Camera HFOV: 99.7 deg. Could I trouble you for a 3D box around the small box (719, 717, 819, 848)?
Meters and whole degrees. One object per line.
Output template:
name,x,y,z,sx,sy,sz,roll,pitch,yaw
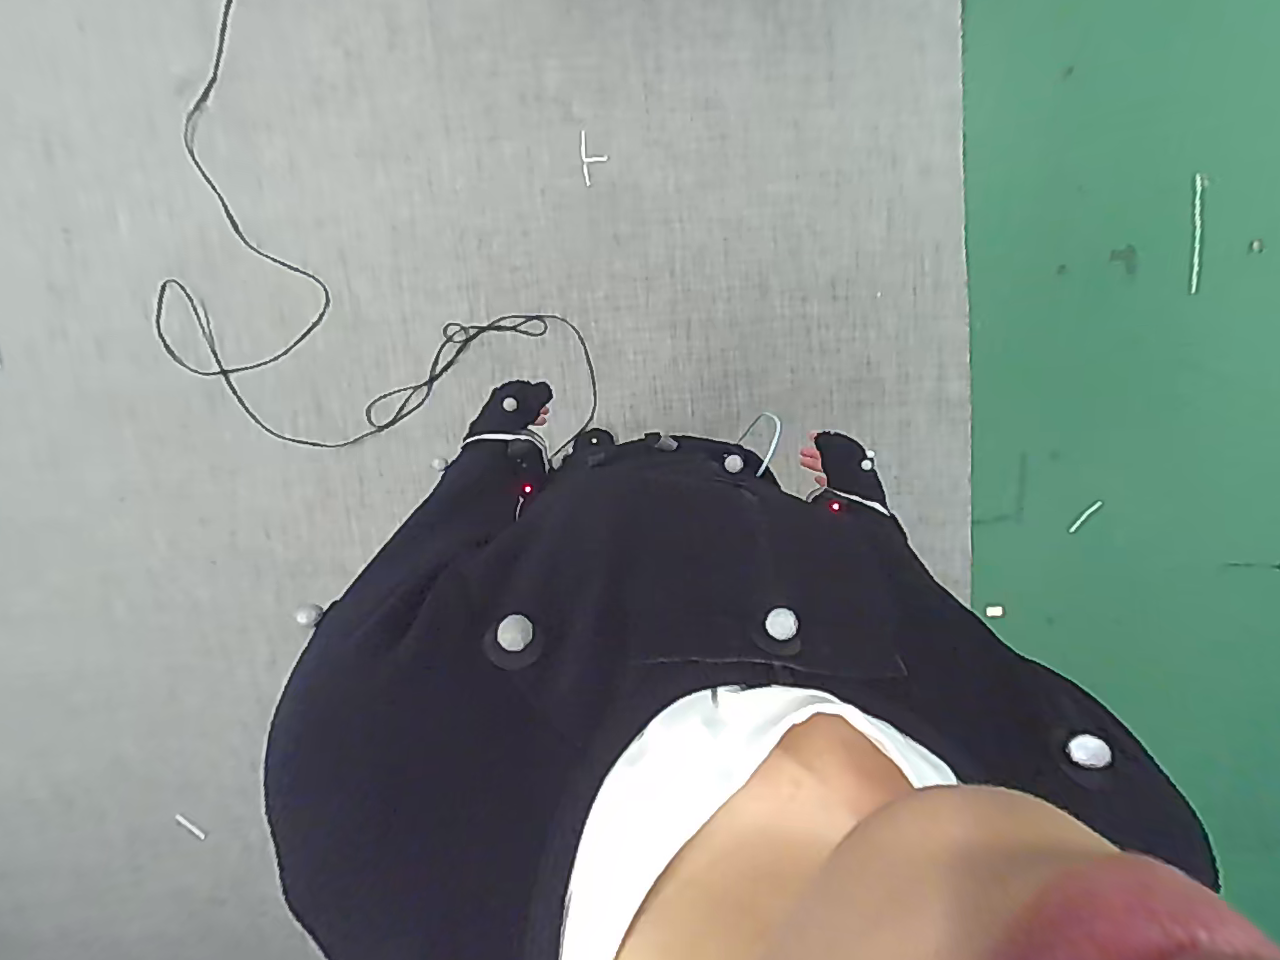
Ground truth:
small box,0.261,0.607,1.103,0.168,0.176,0.179,-8,99,0

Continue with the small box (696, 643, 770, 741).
small box,0.243,0.553,1.425,0.168,0.176,0.179,-5,98,-2

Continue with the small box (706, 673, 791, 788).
small box,0.251,0.578,1.264,0.168,0.176,0.179,-6,98,-1
